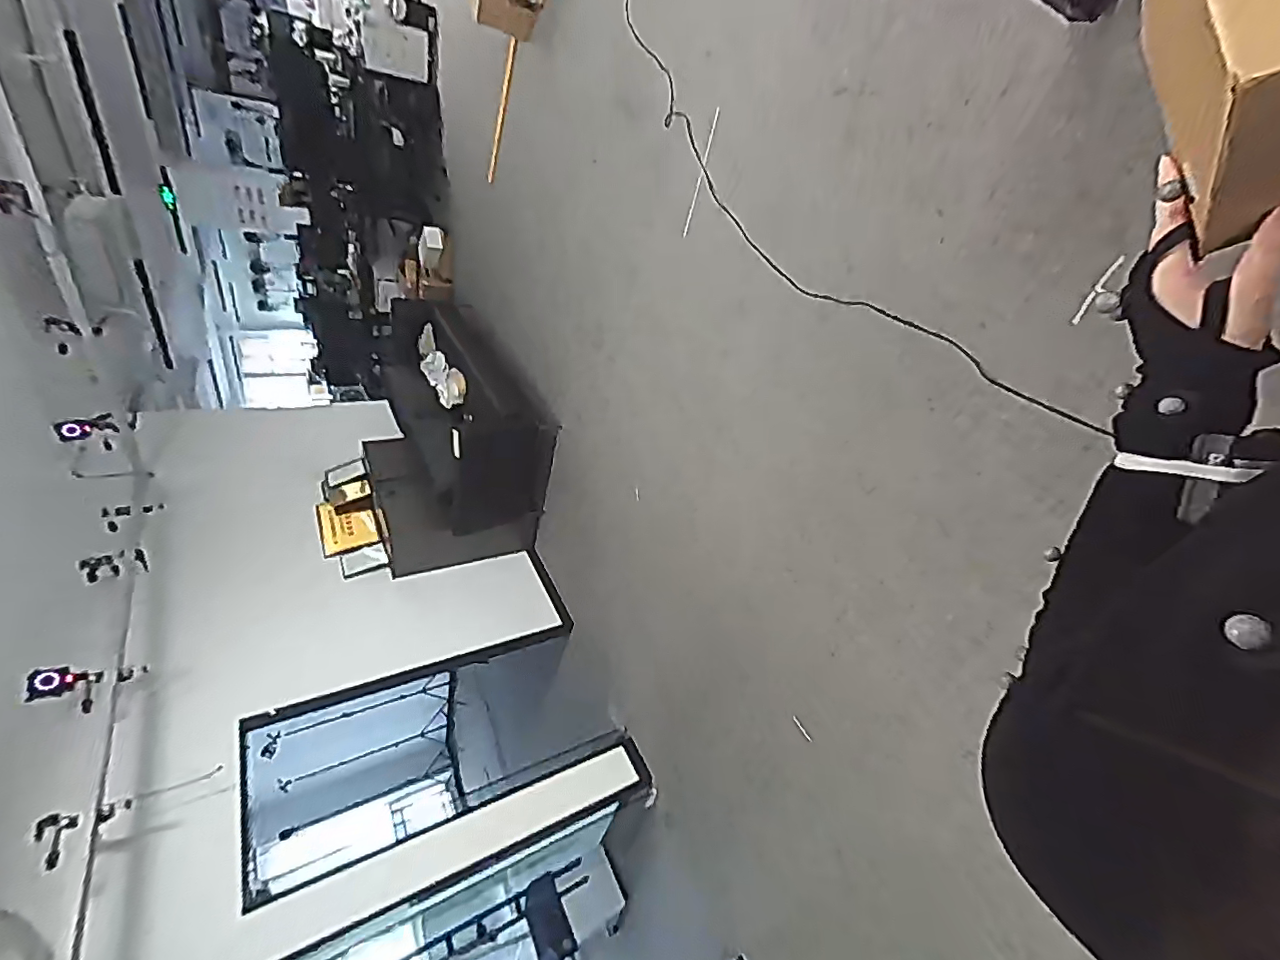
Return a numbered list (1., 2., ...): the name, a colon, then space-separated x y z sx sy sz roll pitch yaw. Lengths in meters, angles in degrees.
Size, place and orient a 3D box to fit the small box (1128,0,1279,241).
1. small box: 0.351 -0.254 0.249 0.168 0.179 0.176 -11 79 40
